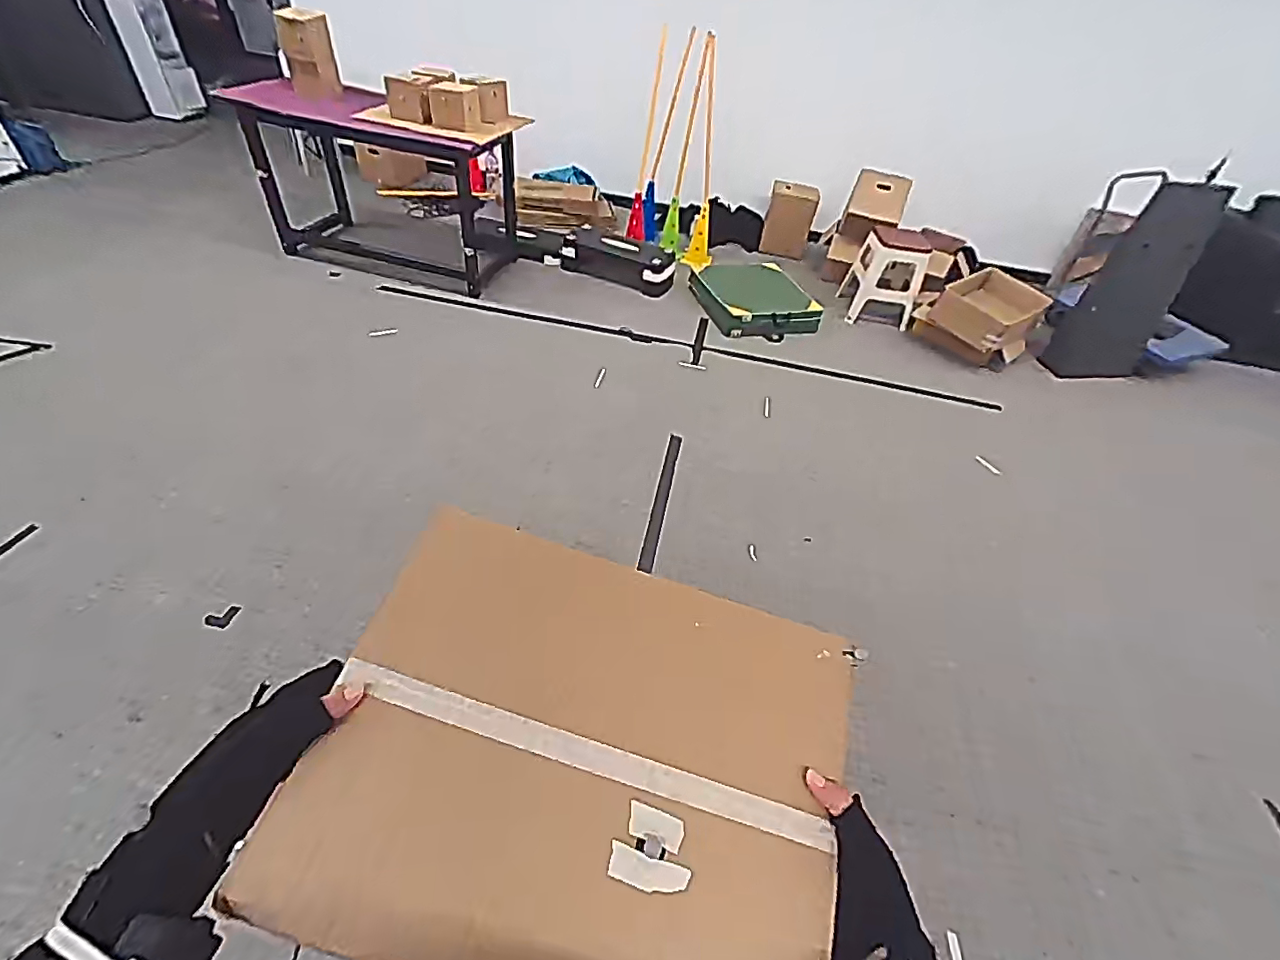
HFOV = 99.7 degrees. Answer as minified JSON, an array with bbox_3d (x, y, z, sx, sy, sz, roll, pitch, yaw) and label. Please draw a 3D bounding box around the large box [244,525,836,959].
[{"bbox_3d":[-0.064,0.296,0.565,0.408,0.320,0.320,18,59,2],"label":"large box"}]
